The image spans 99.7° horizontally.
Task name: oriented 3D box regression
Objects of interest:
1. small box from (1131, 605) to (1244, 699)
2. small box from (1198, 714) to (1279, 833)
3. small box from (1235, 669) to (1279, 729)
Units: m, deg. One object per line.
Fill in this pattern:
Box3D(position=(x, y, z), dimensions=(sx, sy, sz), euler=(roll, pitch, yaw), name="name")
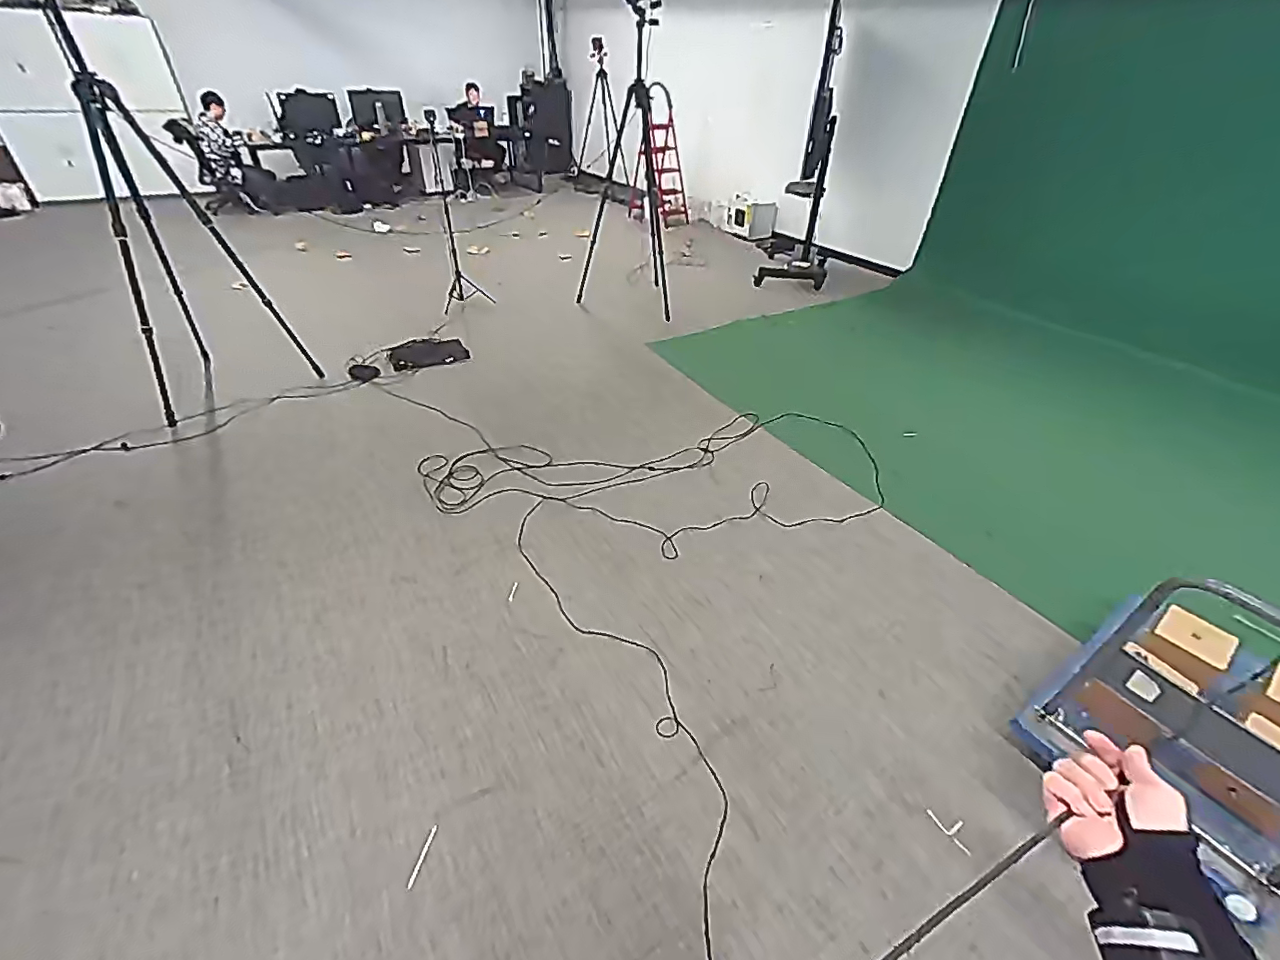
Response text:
Box3D(position=(1.638, 0.519, 1.627), dimensions=(0.179, 0.176, 0.168), euler=(-25, 45, -29), name="small box")
Box3D(position=(1.568, 0.732, 1.352), dimensions=(0.179, 0.176, 0.168), euler=(-22, 43, -25), name="small box")
Box3D(position=(1.792, 0.642, 1.472), dimensions=(0.179, 0.176, 0.168), euler=(-25, 44, -29), name="small box")
